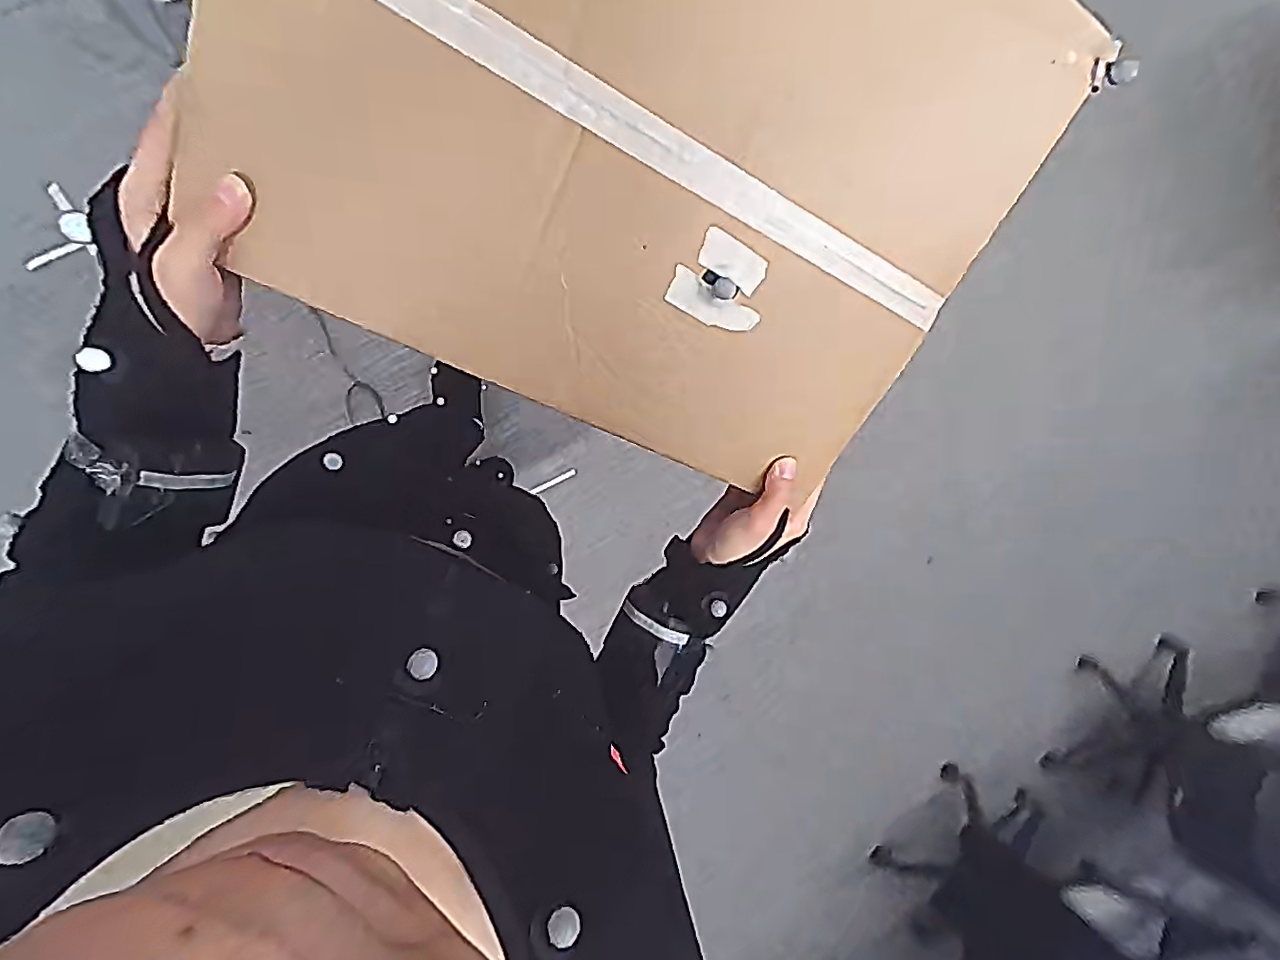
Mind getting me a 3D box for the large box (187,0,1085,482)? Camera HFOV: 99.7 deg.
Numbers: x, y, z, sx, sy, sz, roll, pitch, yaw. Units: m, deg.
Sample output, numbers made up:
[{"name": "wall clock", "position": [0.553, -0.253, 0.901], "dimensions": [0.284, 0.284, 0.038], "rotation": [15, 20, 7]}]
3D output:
[{"name": "large box", "position": [-0.020, -0.251, 0.416], "dimensions": [0.408, 0.320, 0.320], "rotation": [20, 113, -19]}]
